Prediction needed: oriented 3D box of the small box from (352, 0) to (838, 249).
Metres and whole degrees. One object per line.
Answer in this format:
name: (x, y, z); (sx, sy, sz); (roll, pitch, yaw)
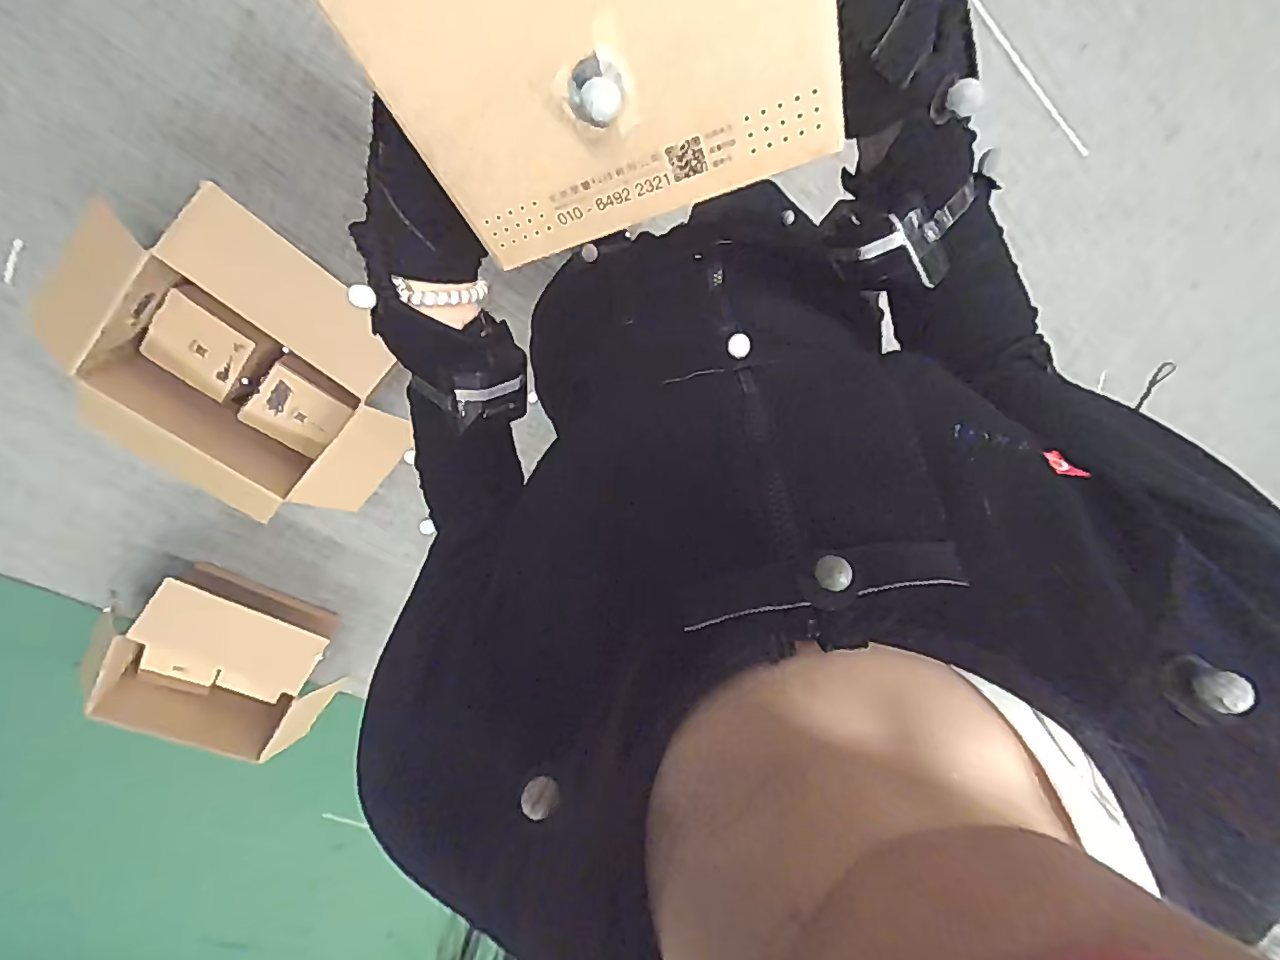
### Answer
small box: (-0.020, -0.235, 0.225); (0.168, 0.179, 0.176); (-11, 146, 19)
